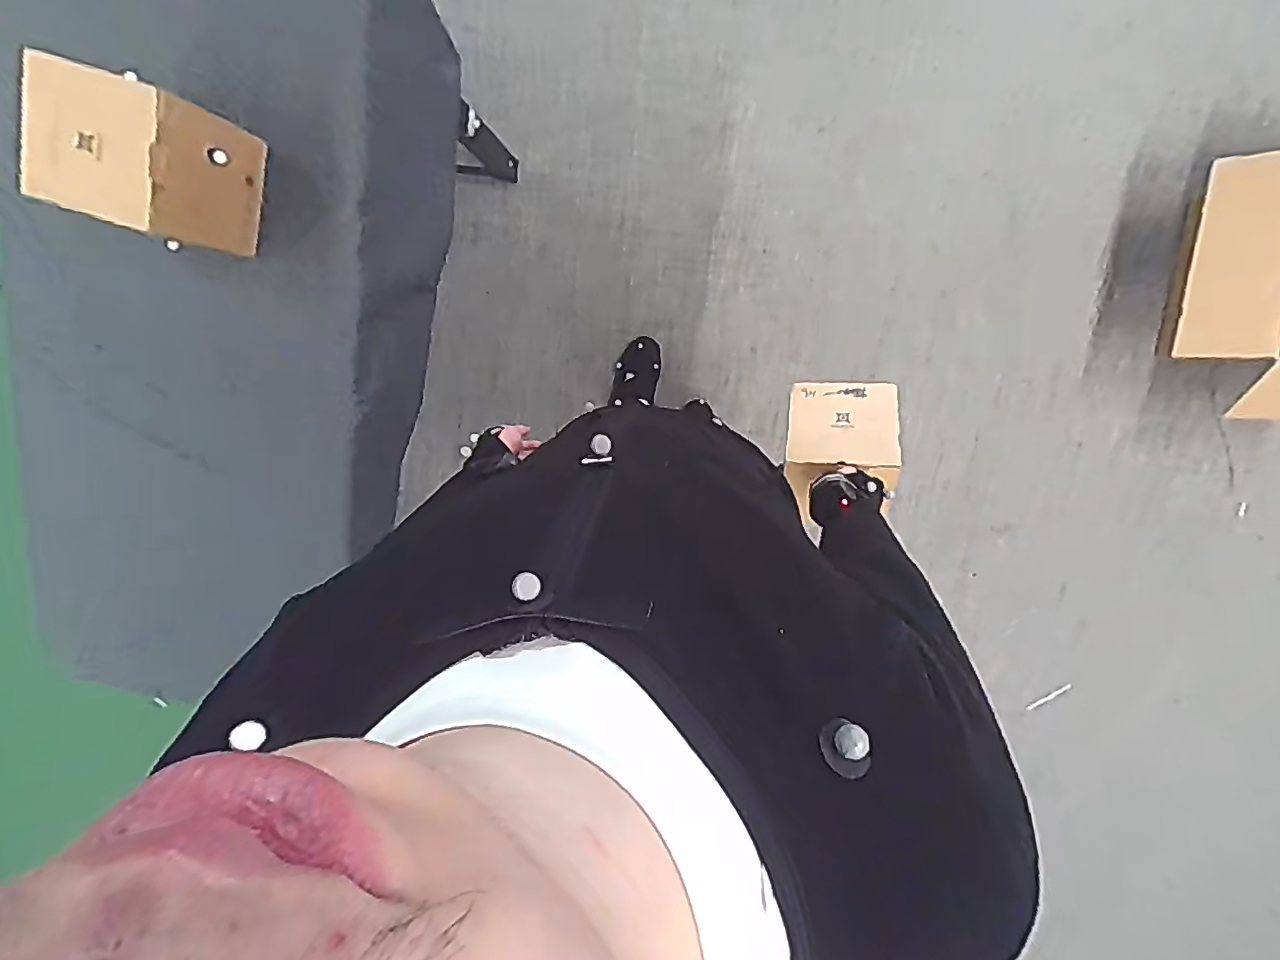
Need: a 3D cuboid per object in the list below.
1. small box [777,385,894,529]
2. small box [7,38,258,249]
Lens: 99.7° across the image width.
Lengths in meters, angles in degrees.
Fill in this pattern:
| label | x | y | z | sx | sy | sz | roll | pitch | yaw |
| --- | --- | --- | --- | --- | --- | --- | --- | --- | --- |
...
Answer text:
| label | x | y | z | sx | sy | sz | roll | pitch | yaw |
| --- | --- | --- | --- | --- | --- | --- | --- | --- | --- |
| small box | 0.321 | -0.037 | 0.899 | 0.168 | 0.179 | 0.176 | 5 | 145 | 16 |
| small box | -0.654 | -0.423 | 0.715 | 0.179 | 0.176 | 0.168 | 18 | 101 | 2 |
